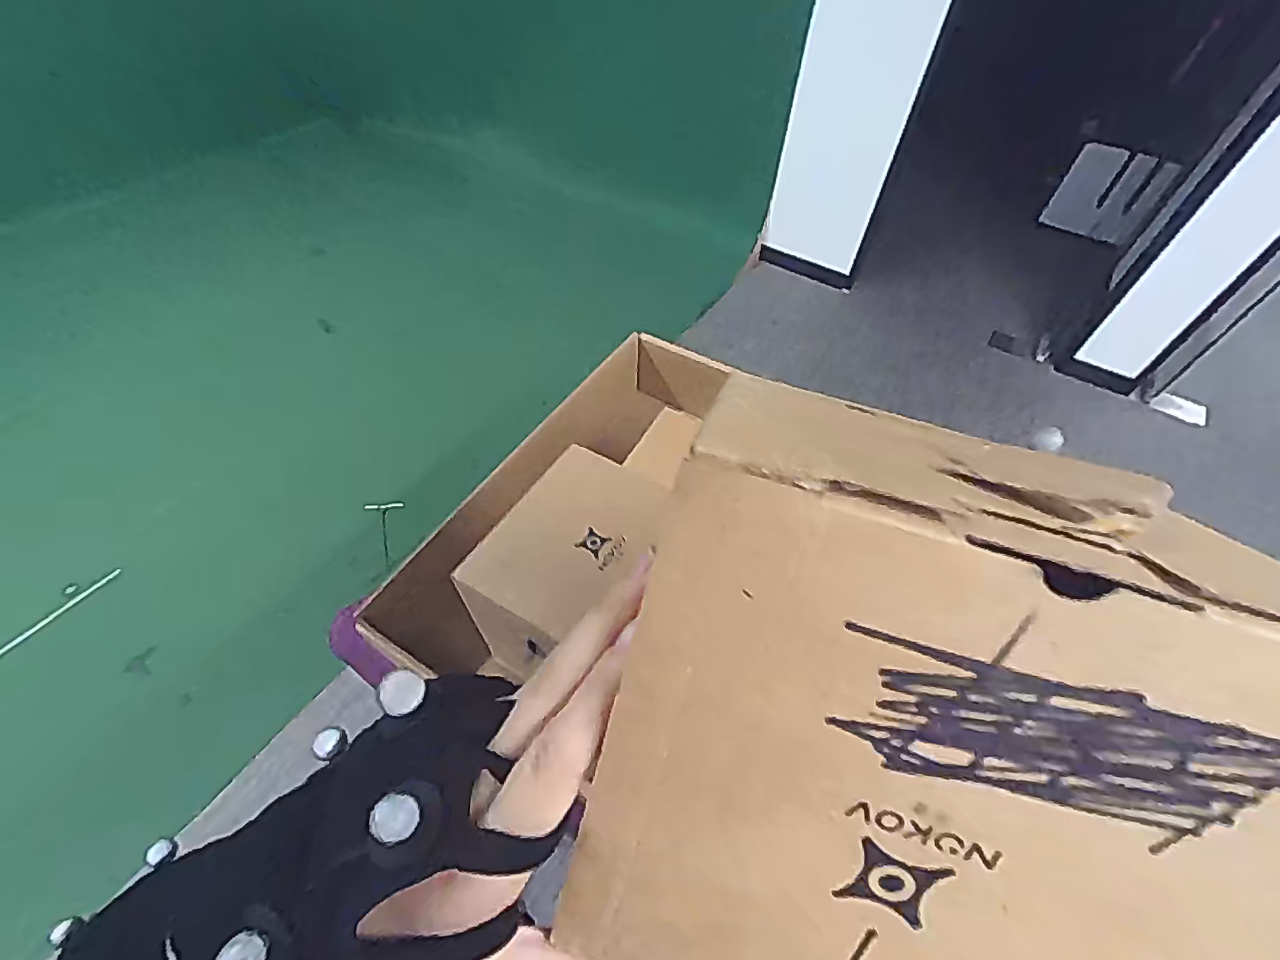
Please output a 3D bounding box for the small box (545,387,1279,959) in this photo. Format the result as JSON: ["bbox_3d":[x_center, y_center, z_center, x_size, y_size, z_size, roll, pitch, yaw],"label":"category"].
[{"bbox_3d":[0.083,0.072,0.216,0.168,0.179,0.176,18,21,9],"label":"small box"}]

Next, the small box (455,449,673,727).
[{"bbox_3d":[-0.035,0.108,0.503,0.179,0.176,0.168,27,57,18],"label":"small box"}]

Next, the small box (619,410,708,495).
[{"bbox_3d":[0.063,0.038,0.769,0.168,0.176,0.179,24,56,17],"label":"small box"}]
